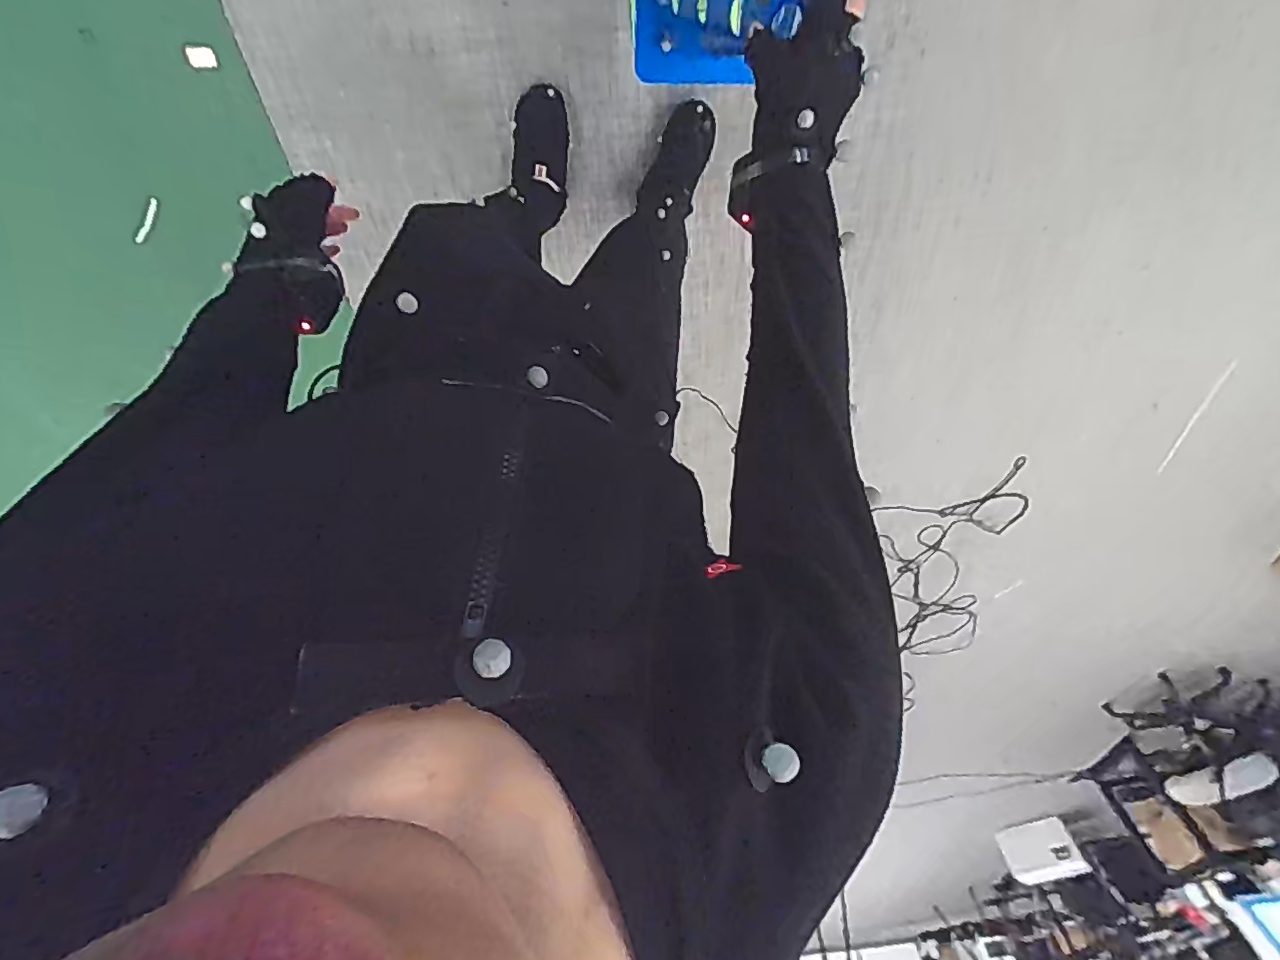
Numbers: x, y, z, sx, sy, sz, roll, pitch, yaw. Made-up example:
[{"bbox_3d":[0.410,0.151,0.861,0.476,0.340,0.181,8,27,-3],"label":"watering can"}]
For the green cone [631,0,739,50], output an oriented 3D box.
[{"bbox_3d":[0.100,-0.785,0.837,0.202,0.368,0.200,-7,132,-2],"label":"green cone"}]
